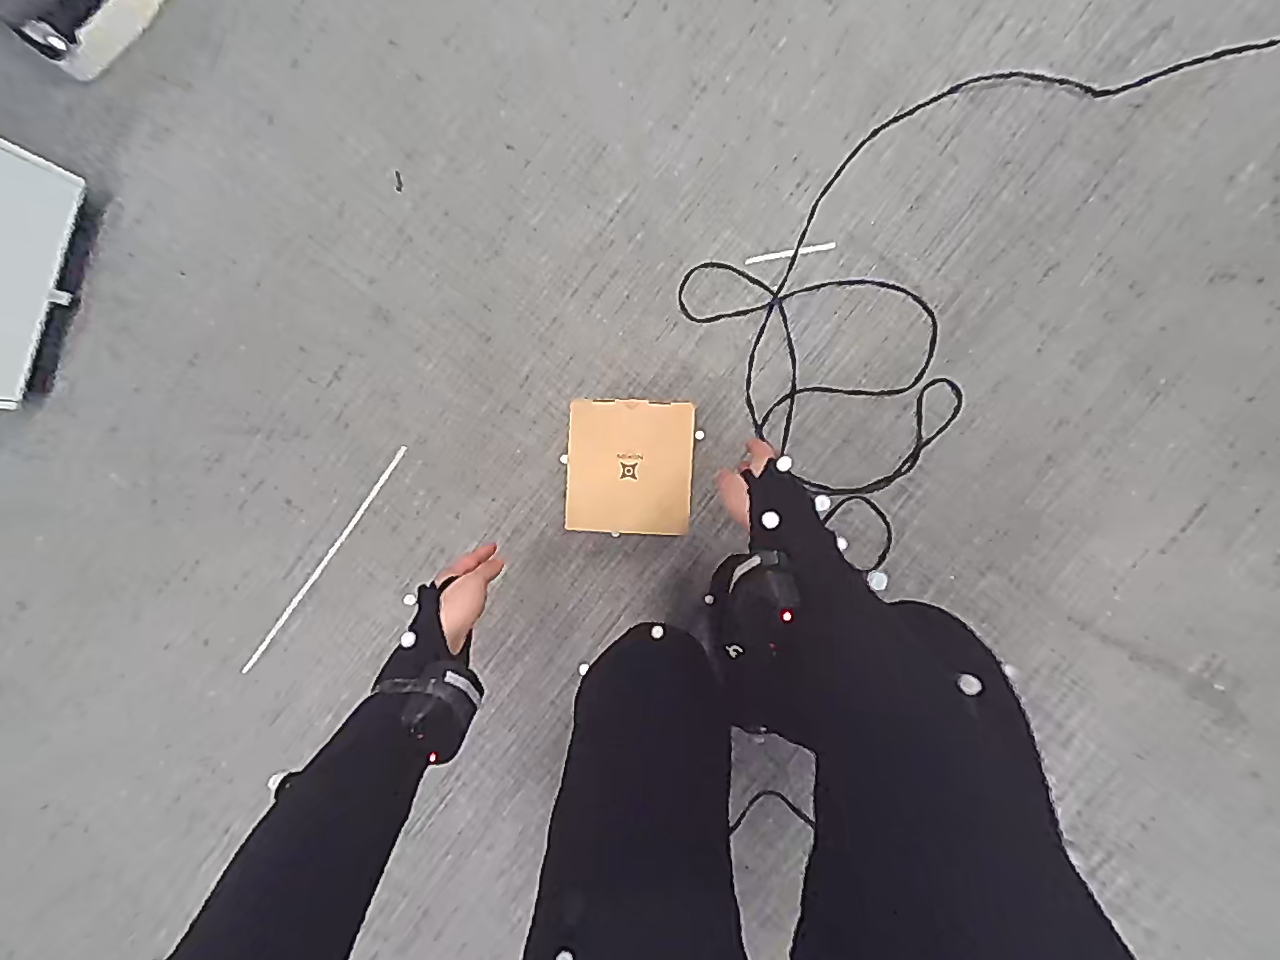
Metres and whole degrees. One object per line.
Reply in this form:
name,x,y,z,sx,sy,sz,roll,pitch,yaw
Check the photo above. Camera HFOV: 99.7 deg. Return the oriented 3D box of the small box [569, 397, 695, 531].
small box,-0.004,-0.024,0.799,0.168,0.176,0.179,2,91,4
